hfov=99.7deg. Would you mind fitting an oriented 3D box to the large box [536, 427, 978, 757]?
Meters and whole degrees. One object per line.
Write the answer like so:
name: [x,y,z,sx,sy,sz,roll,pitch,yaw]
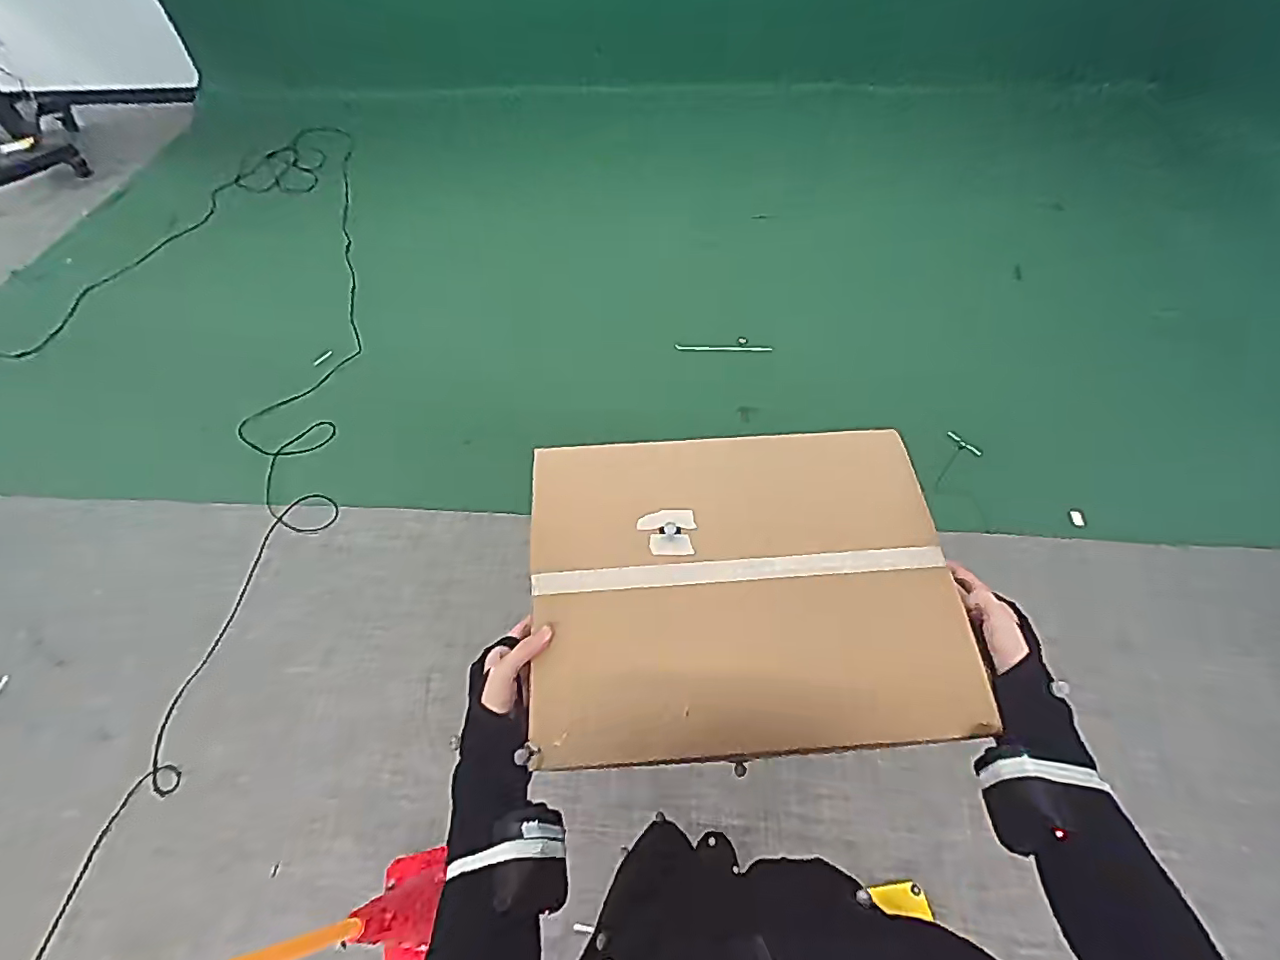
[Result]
large box: [0.099,0.158,0.676,0.408,0.320,0.320,-4,61,-1]
